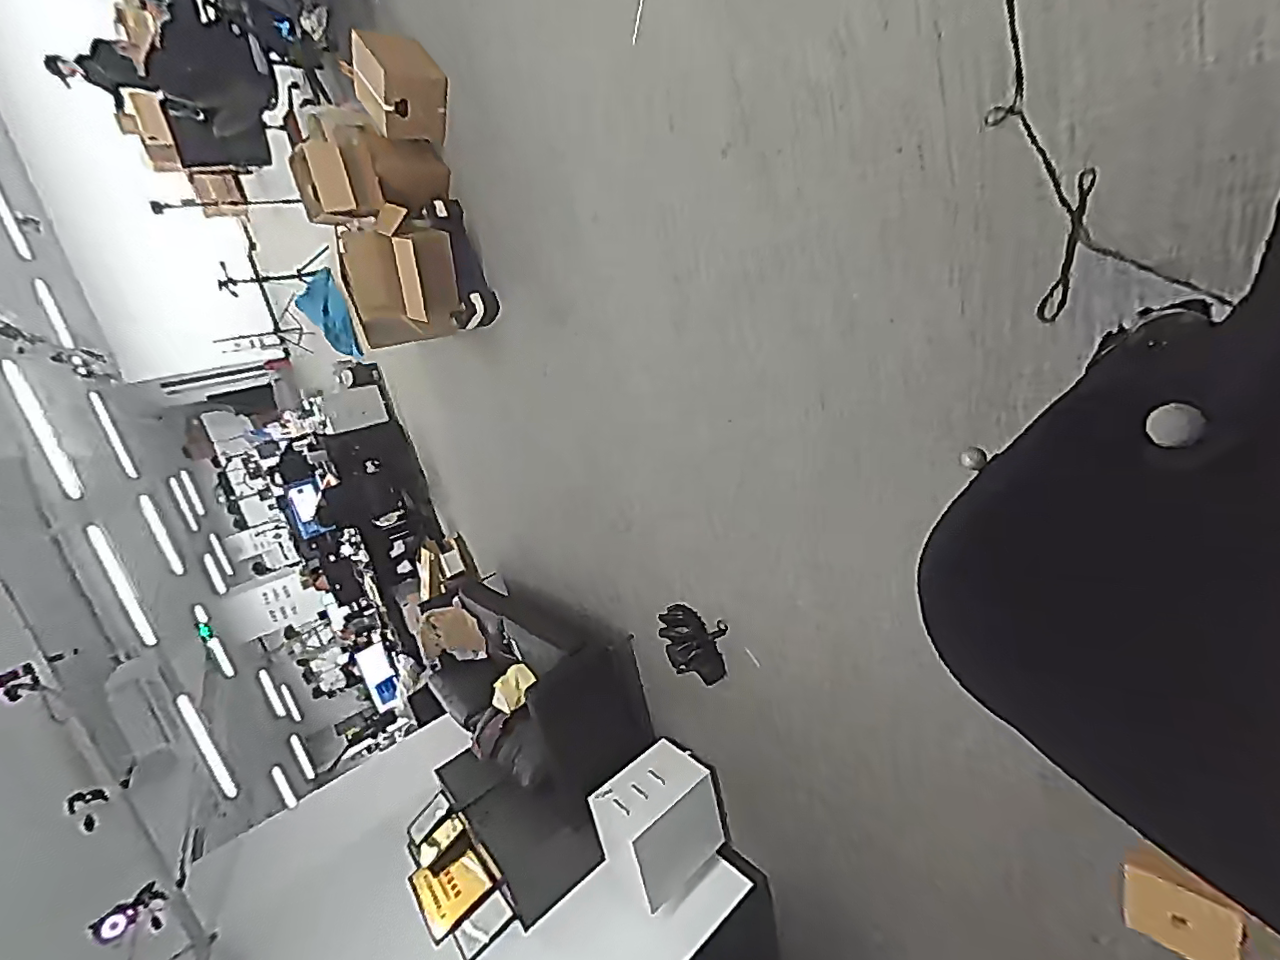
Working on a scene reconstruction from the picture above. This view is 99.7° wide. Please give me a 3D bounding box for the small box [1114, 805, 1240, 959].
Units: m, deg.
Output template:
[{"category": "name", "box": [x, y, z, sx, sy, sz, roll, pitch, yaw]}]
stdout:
[{"category": "small box", "box": [1.126, 0.840, 1.135, 0.168, 0.176, 0.179, 6, 113, 52]}]
